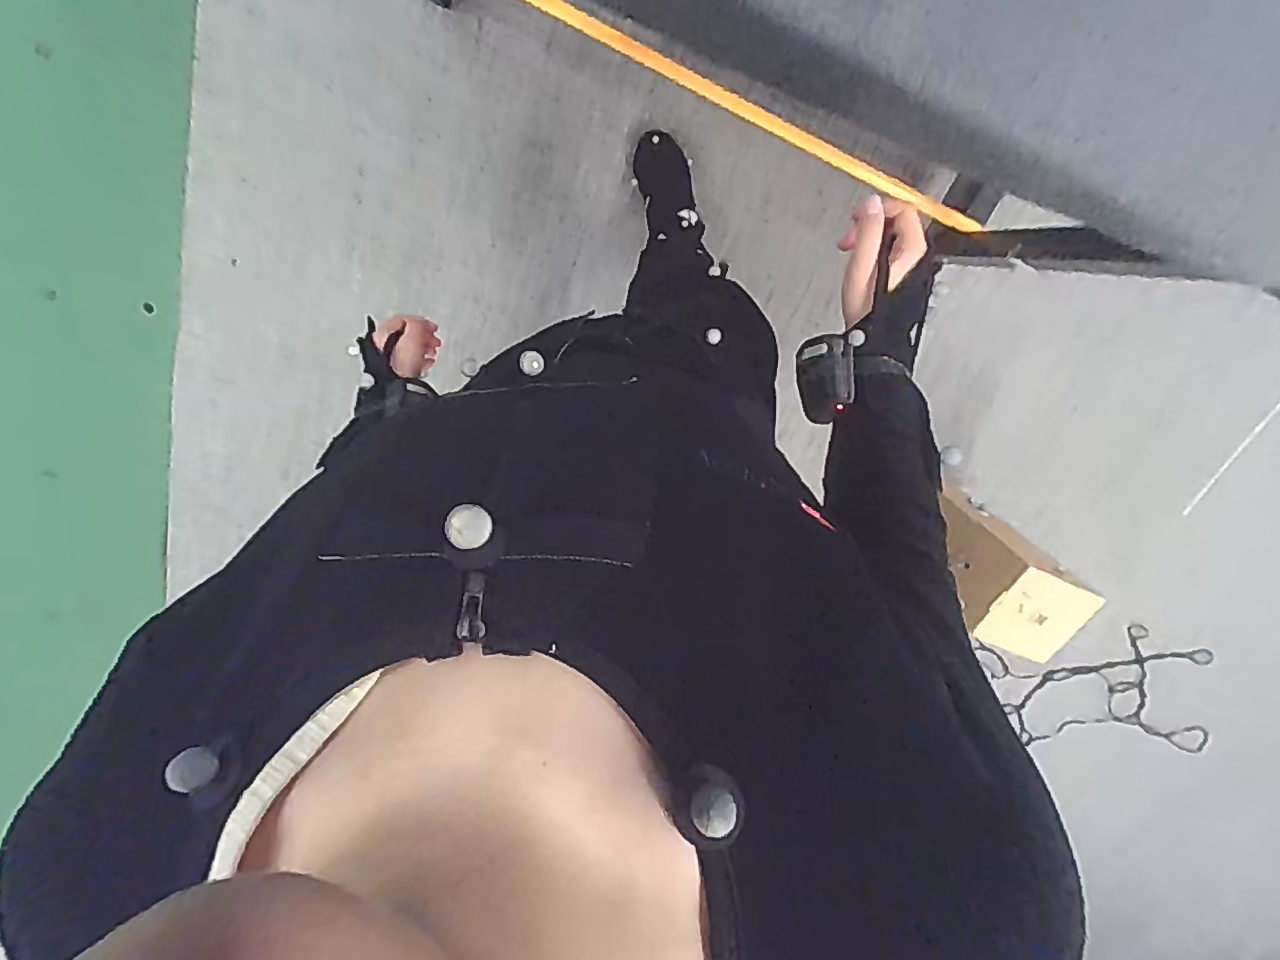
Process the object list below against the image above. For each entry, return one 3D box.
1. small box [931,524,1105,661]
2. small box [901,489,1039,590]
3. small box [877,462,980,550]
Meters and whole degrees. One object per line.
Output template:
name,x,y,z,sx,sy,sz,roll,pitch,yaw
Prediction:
small box,0.713,0.209,1.043,0.179,0.176,0.168,22,113,-9
small box,0.713,0.149,1.196,0.168,0.176,0.179,21,112,-9
small box,0.720,0.086,1.346,0.168,0.176,0.179,24,114,-9
